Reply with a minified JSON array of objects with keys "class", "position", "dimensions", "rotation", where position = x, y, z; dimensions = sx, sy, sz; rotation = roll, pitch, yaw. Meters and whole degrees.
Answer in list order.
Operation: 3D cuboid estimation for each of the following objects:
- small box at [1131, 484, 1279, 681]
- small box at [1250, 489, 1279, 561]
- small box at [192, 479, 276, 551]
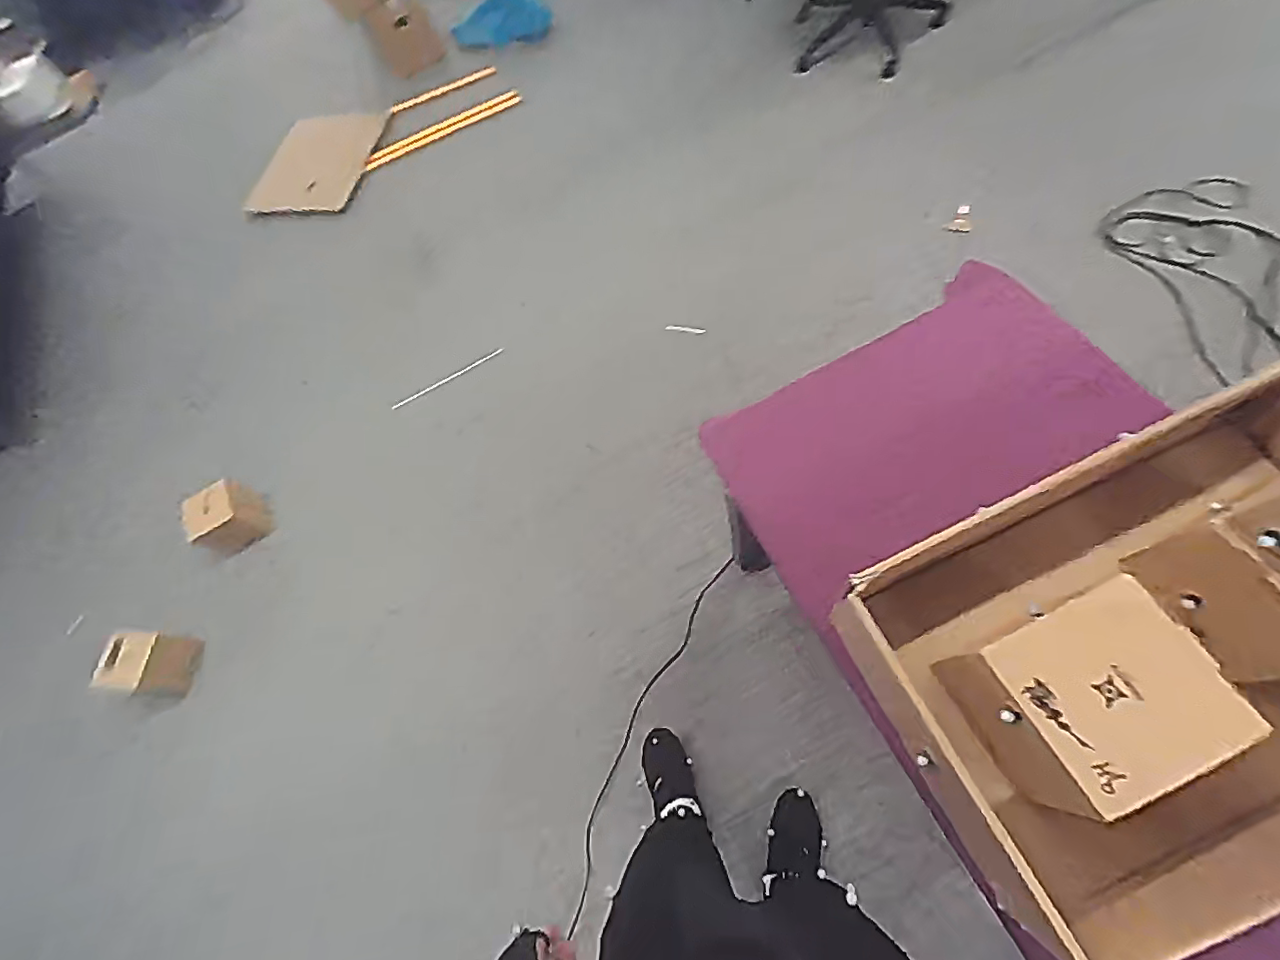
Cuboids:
[{"class":"small box","position":[0.712,0.102,0.588],"dimensions":[0.179,0.176,0.168],"rotation":[-29,64,0]},{"class":"small box","position":[0.685,0.035,0.441],"dimensions":[0.179,0.176,0.168],"rotation":[-29,64,-1]},{"class":"small box","position":[-1.415,0.131,1.893],"dimensions":[0.168,0.176,0.179],"rotation":[-30,63,-3]}]
